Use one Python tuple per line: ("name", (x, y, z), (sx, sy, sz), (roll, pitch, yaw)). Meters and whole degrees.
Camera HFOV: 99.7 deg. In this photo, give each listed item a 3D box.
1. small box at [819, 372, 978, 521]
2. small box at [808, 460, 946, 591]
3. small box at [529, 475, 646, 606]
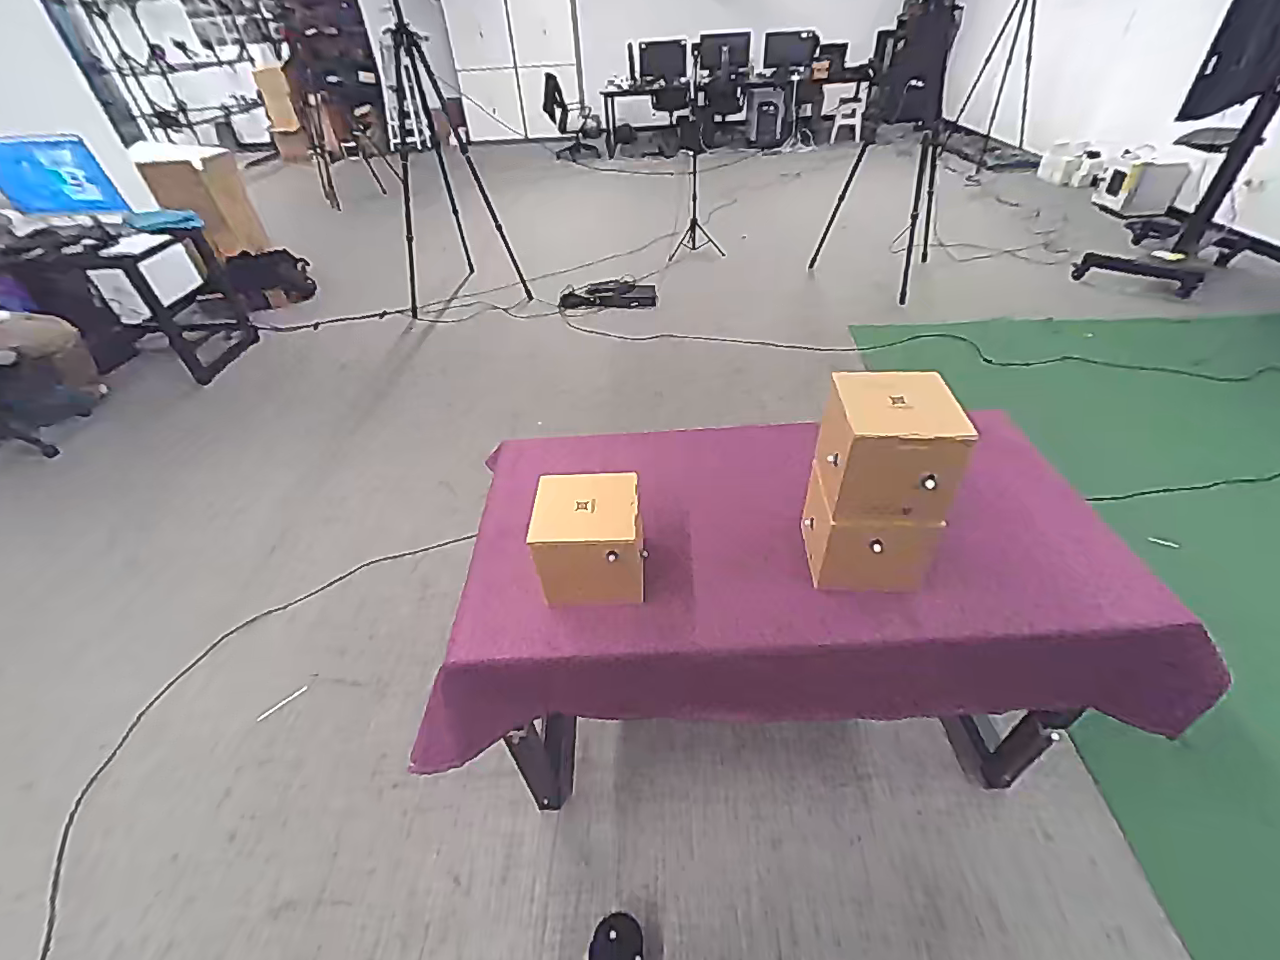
("small box", (0.384, -0.051, 0.840), (0.168, 0.176, 0.179), (1, 40, 7))
("small box", (0.394, 0.078, 0.940), (0.179, 0.176, 0.168), (0, 41, 6))
("small box", (-0.082, 0.109, 0.958), (0.179, 0.176, 0.168), (-2, 40, 3))
